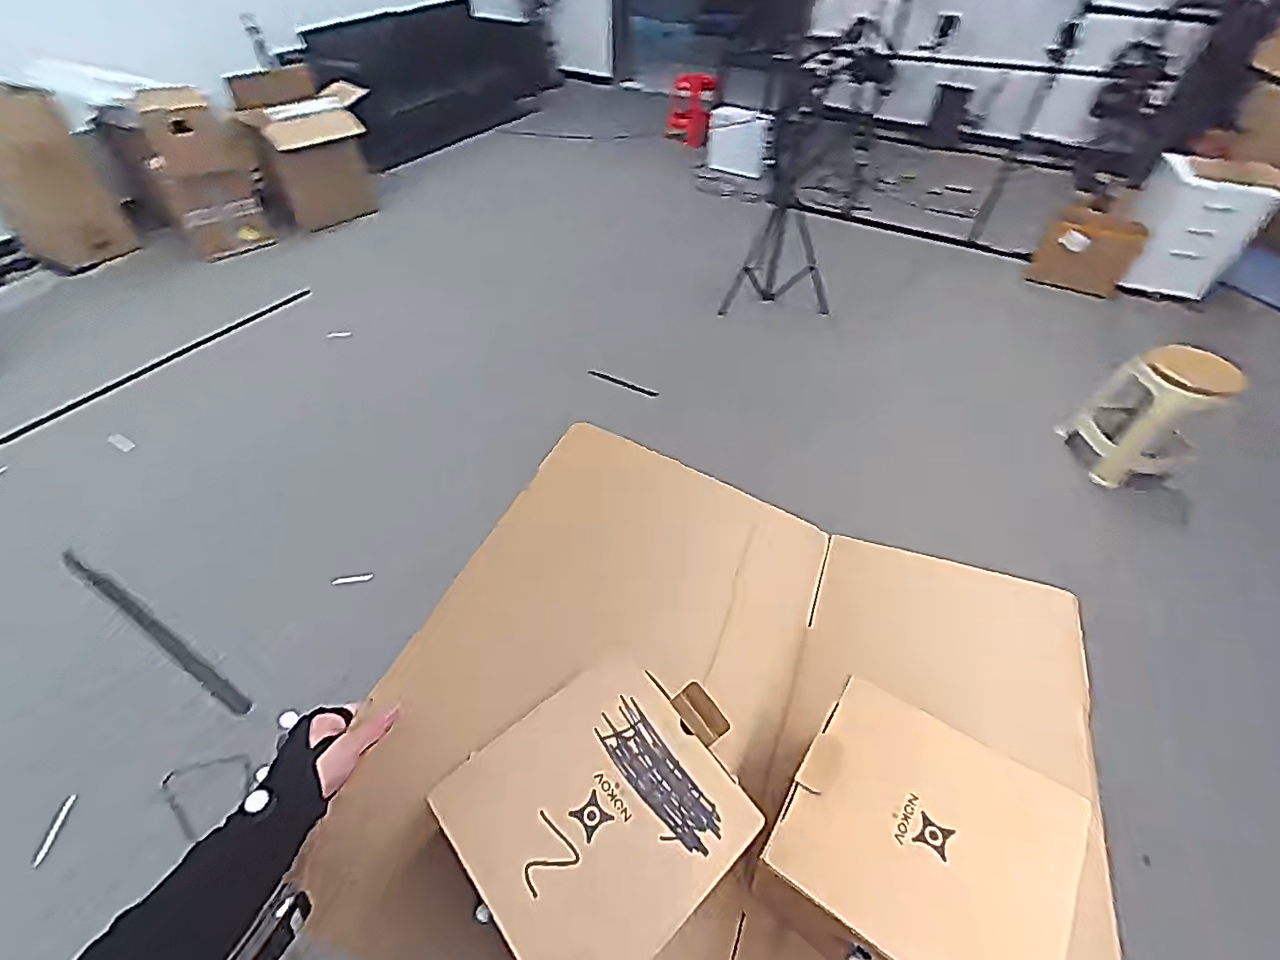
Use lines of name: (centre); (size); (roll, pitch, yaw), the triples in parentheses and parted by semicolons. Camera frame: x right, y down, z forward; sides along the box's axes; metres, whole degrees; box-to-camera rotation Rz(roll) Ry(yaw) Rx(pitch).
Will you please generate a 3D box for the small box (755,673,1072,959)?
small box: (0.210, 0.303, 0.451); (0.179, 0.176, 0.168); (22, 54, 29)
